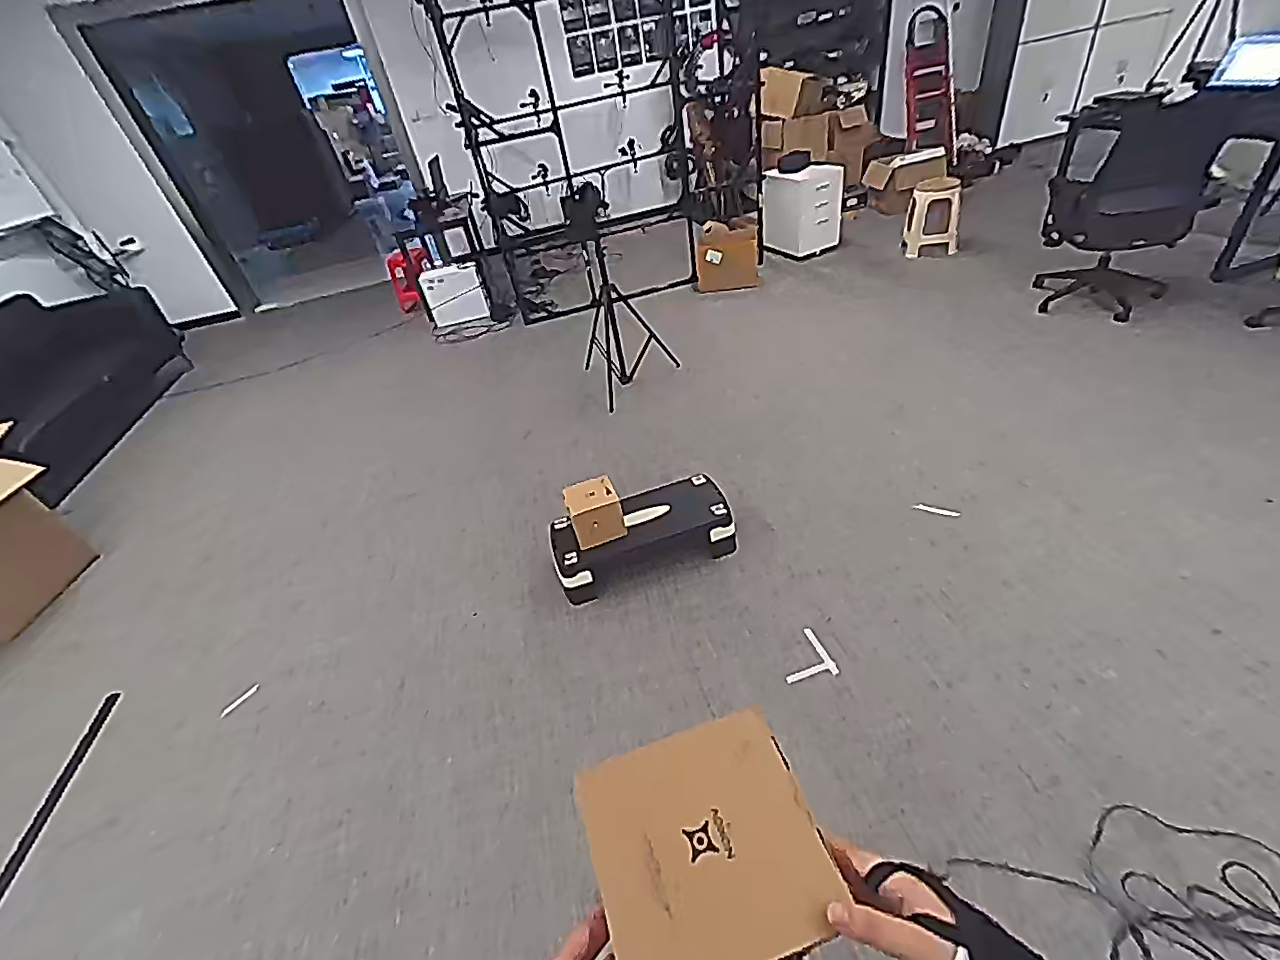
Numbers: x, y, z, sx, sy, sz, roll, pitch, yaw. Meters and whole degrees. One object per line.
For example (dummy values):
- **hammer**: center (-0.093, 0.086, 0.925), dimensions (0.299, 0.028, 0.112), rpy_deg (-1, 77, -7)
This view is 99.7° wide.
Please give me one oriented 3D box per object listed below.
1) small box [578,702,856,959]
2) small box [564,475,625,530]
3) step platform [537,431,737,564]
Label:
- **small box**: center (0.058, 0.336, 0.486), dimensions (0.179, 0.176, 0.168), rpy_deg (-17, 45, -10)
- **small box**: center (-0.163, 0.116, 1.951), dimensions (0.179, 0.176, 0.168), rpy_deg (-19, 39, -9)
- **step platform**: center (-0.008, 0.060, 1.921), dimensions (0.684, 0.204, 0.286), rpy_deg (-17, 38, -7)
